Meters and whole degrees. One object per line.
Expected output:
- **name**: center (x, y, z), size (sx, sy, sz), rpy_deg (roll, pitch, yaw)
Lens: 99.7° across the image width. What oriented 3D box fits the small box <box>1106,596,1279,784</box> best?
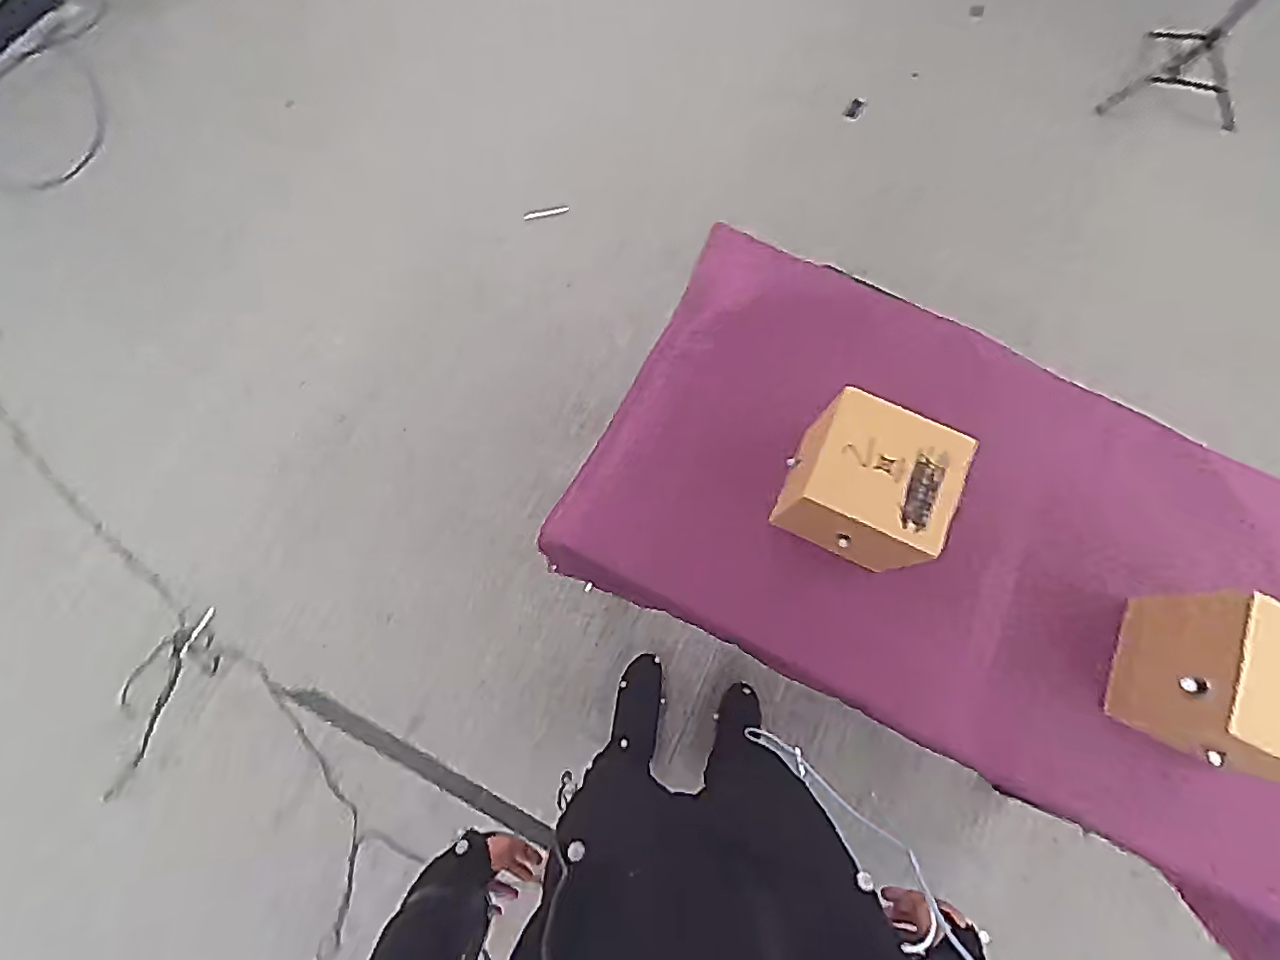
- **small box**: center (0.751, 0.267, 0.687), size (0.168, 0.176, 0.179), rpy_deg (27, 75, 6)
